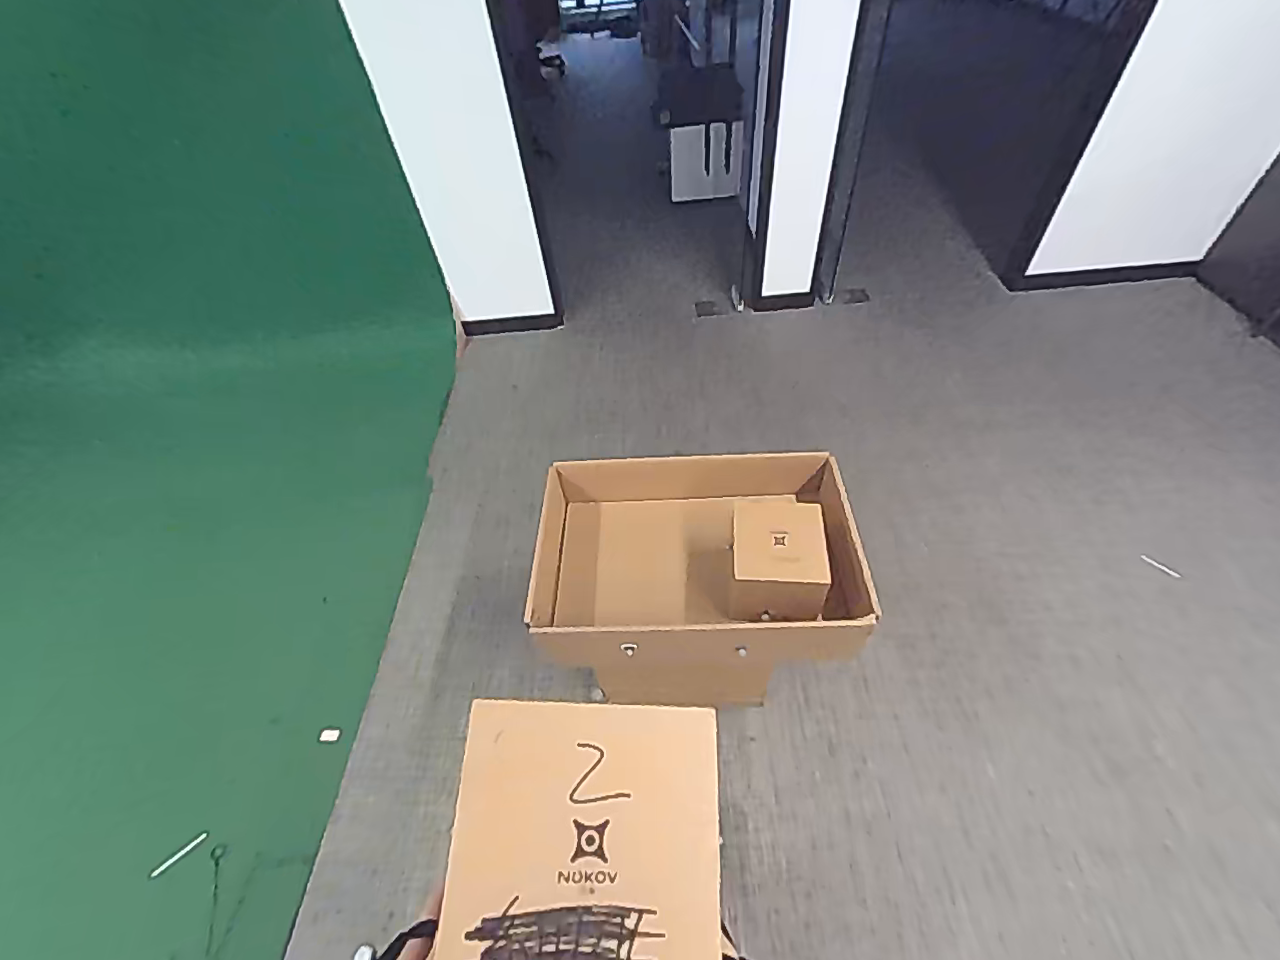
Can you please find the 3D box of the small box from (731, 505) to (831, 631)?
[{"bbox_3d":[0.261,0.169,1.042,0.168,0.176,0.179,1,49,9],"label":"small box"}]
